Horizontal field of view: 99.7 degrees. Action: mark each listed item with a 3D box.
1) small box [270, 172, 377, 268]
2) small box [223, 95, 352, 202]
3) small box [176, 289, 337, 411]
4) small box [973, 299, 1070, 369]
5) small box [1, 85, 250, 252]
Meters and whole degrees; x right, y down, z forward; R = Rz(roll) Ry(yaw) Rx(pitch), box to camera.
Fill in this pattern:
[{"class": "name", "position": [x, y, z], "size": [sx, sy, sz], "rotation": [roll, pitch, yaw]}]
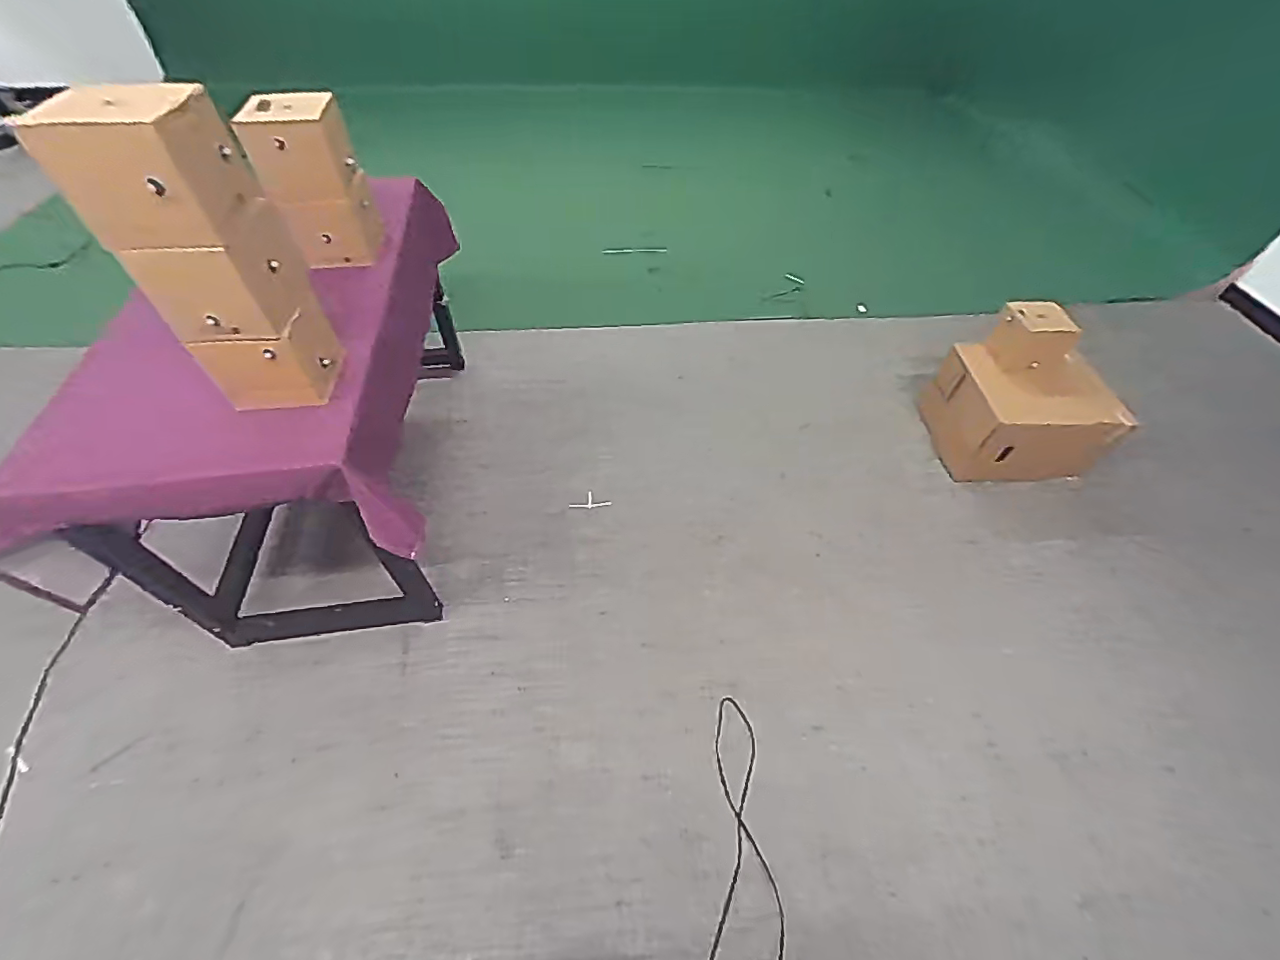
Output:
[{"class": "small box", "position": [-0.789, -0.655, 1.371], "size": [0.168, 0.176, 0.179], "rotation": [-4, 52, -5]}, {"class": "small box", "position": [-0.794, -0.756, 1.241], "size": [0.179, 0.176, 0.168], "rotation": [-6, 53, -7]}, {"class": "small box", "position": [-0.727, -0.248, 1.051], "size": [0.179, 0.176, 0.168], "rotation": [-5, 51, -6]}, {"class": "small box", "position": [1.284, -0.492, 1.833], "size": [0.179, 0.176, 0.168], "rotation": [0, 50, -5]}, {"class": "small box", "position": [-0.727, -0.455, 0.796], "size": [0.179, 0.176, 0.168], "rotation": [-4, 51, -4]}]
